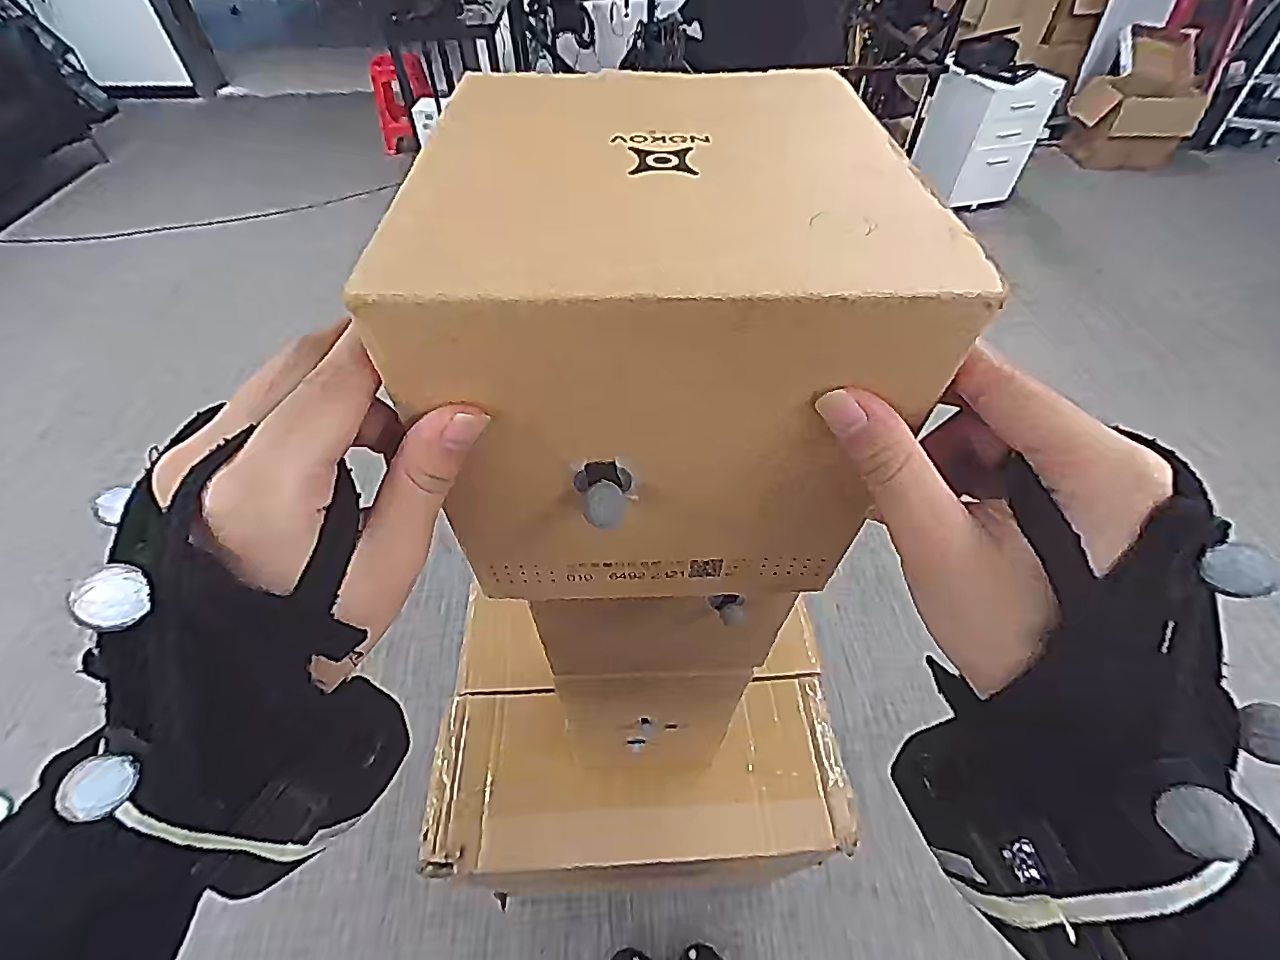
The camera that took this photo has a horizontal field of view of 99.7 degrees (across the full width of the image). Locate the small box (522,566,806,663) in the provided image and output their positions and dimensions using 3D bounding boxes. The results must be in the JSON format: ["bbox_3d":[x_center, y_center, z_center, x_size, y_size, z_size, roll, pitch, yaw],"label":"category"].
[{"bbox_3d":[0.013,0.035,0.430,0.179,0.176,0.168,-2,50,-1],"label":"small box"}]

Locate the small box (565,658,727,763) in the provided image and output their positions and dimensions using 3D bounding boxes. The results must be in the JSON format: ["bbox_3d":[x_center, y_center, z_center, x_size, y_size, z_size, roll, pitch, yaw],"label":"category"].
[{"bbox_3d":[0.006,0.248,0.681,0.179,0.176,0.168,-1,50,-1],"label":"small box"}]

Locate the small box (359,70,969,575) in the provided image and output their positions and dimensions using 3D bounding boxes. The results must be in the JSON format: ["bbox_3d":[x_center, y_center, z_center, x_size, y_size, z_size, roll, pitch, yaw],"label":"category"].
[{"bbox_3d":[0.005,-0.065,0.255,0.168,0.176,0.179,-2,50,-2],"label":"small box"}]
